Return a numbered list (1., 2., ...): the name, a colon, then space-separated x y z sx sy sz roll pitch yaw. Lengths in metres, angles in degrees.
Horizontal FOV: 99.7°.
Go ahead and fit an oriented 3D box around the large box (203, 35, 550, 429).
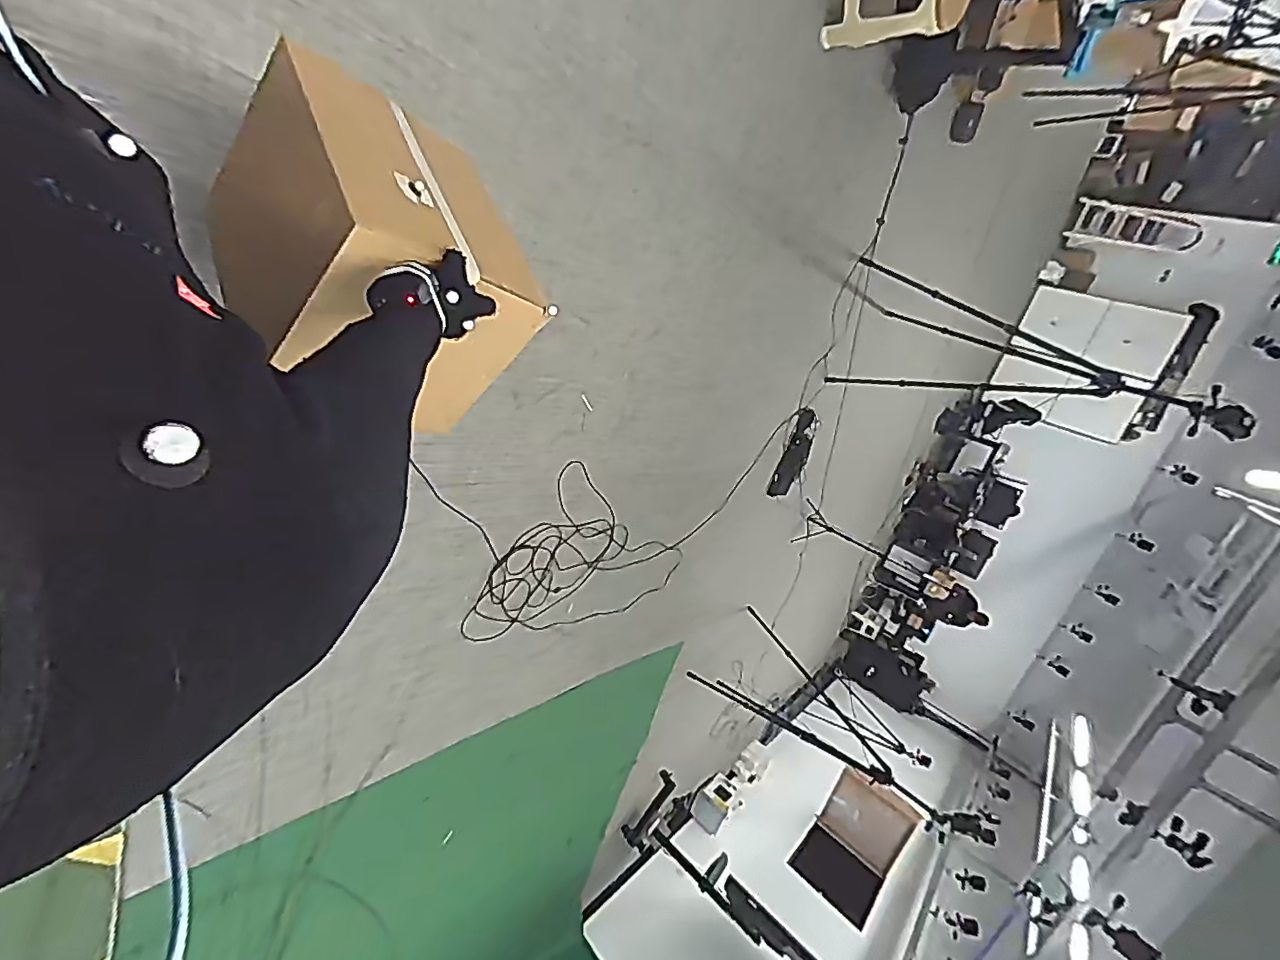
1. large box: -0.416 -0.345 0.848 0.320 0.408 0.320 -38 157 26
